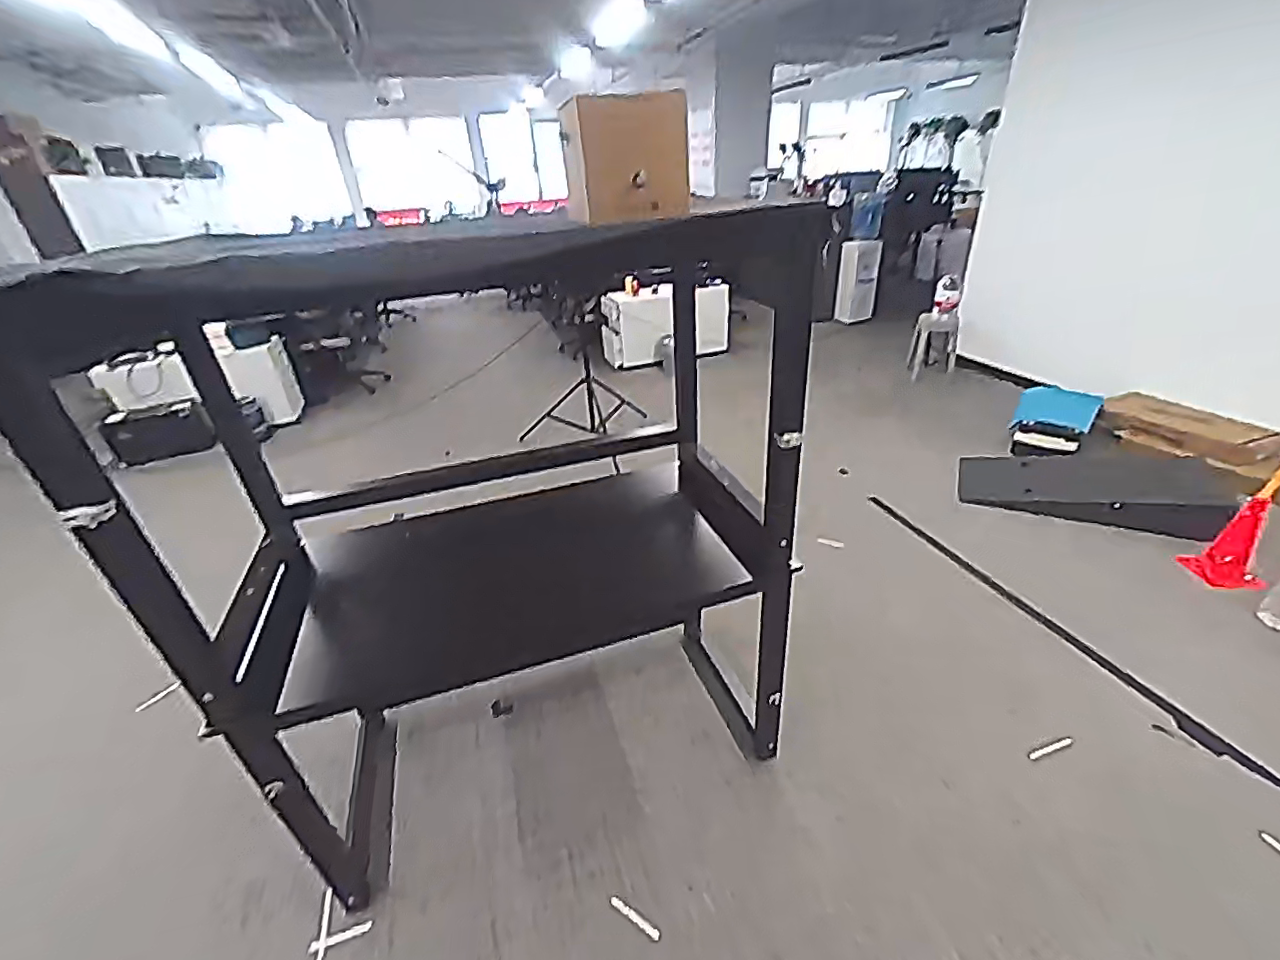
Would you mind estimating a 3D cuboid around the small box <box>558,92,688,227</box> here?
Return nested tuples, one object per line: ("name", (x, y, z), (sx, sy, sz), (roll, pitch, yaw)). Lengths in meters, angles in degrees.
("small box", (-0.029, -0.508, 0.874), (0.168, 0.176, 0.179), (-13, 30, -12))
